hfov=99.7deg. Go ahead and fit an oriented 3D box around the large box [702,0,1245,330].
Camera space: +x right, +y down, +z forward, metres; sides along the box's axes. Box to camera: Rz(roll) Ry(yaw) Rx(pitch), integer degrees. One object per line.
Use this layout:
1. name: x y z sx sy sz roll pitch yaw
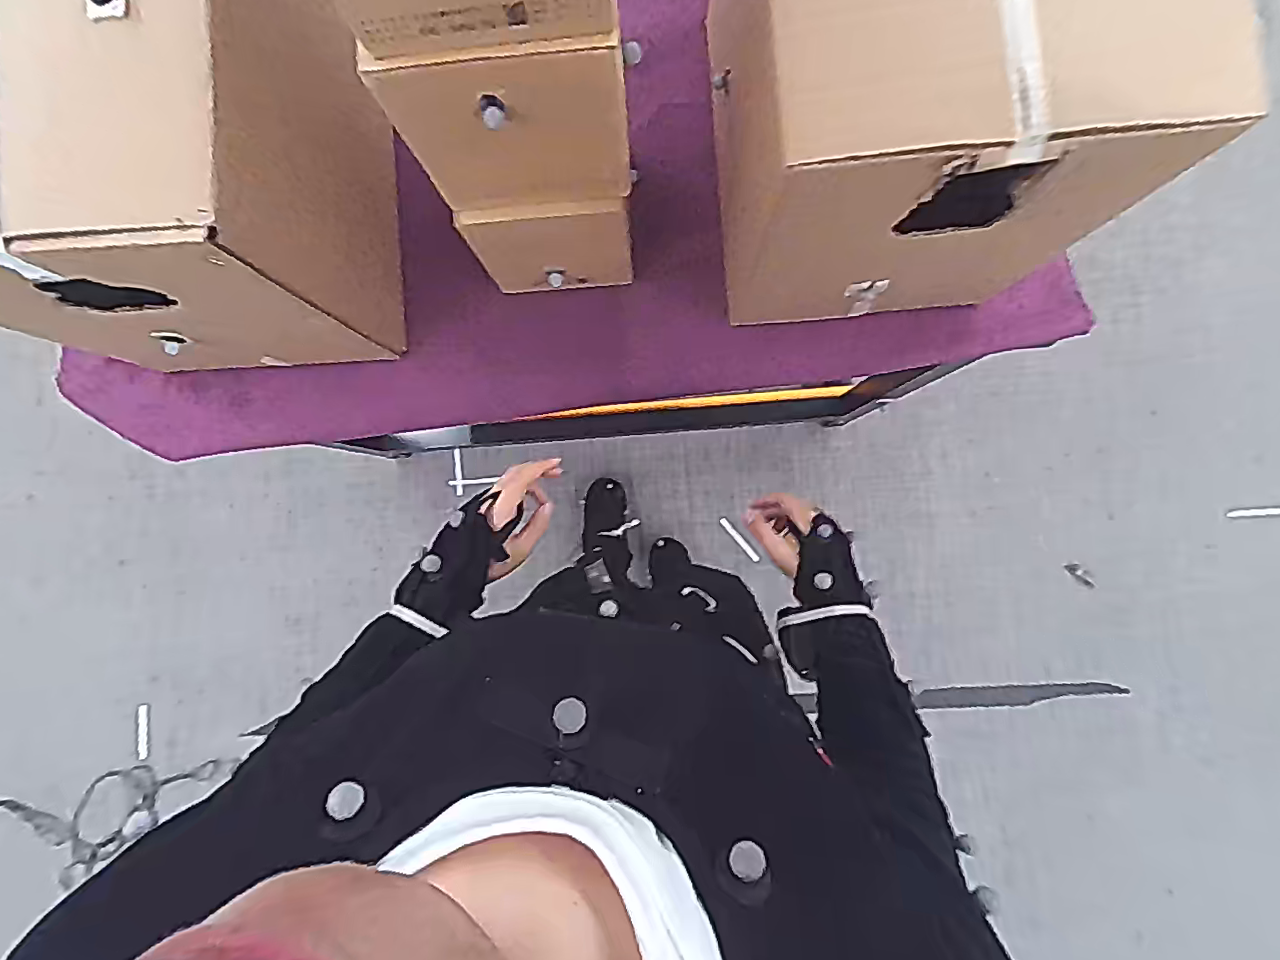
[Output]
1. large box: 0.237 -0.403 0.525 0.320 0.320 0.408 -4 85 2
